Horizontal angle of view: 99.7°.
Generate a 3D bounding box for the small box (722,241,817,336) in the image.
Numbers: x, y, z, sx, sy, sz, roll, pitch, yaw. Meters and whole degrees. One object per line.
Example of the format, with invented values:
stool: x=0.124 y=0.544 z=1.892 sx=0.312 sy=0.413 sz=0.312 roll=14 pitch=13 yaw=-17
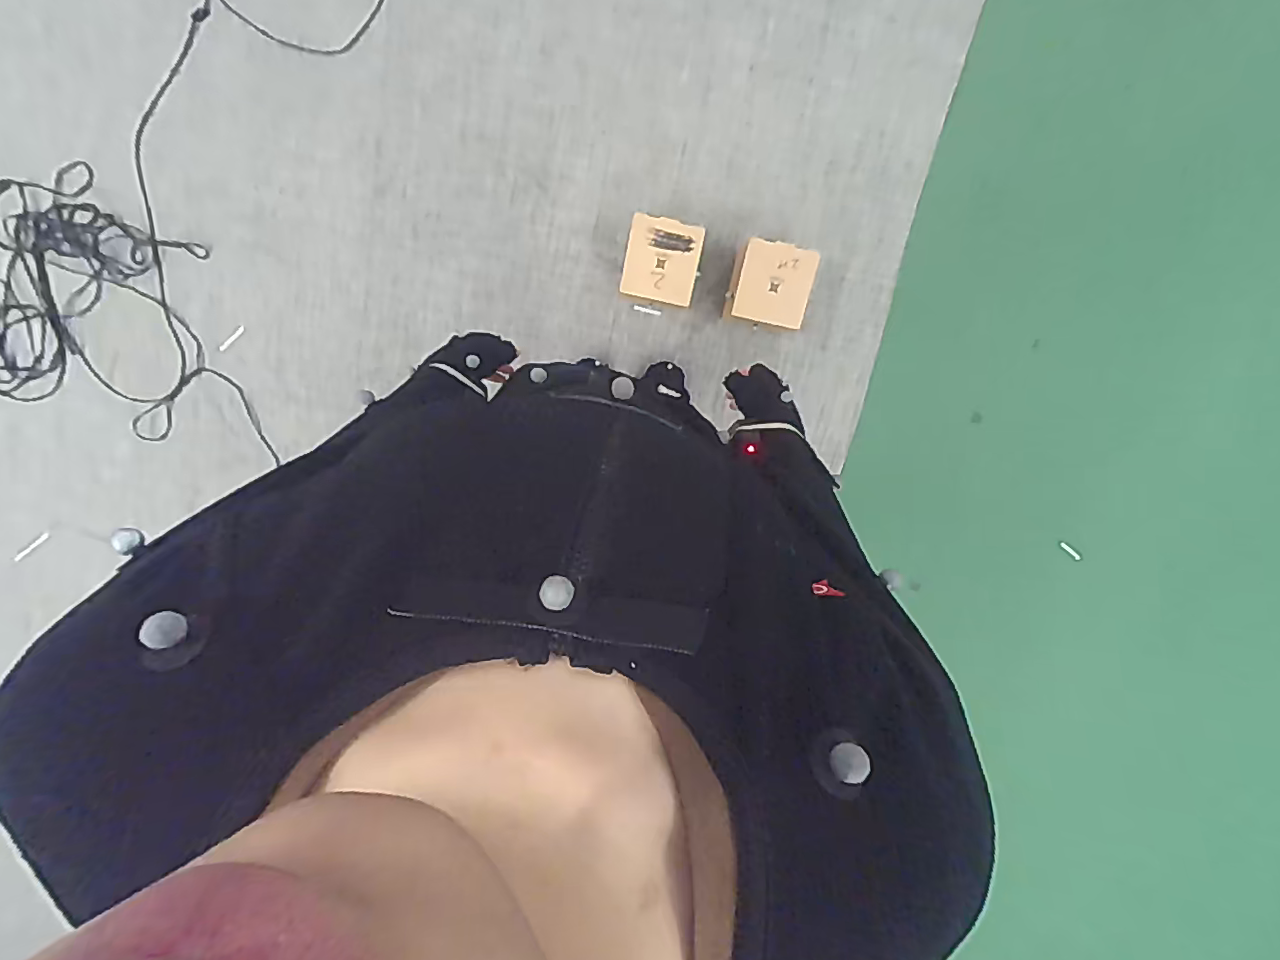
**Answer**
small box: x=0.302 y=-0.450 z=1.299 sx=0.168 sy=0.176 sz=0.179 roll=12 pitch=102 yaw=-3
